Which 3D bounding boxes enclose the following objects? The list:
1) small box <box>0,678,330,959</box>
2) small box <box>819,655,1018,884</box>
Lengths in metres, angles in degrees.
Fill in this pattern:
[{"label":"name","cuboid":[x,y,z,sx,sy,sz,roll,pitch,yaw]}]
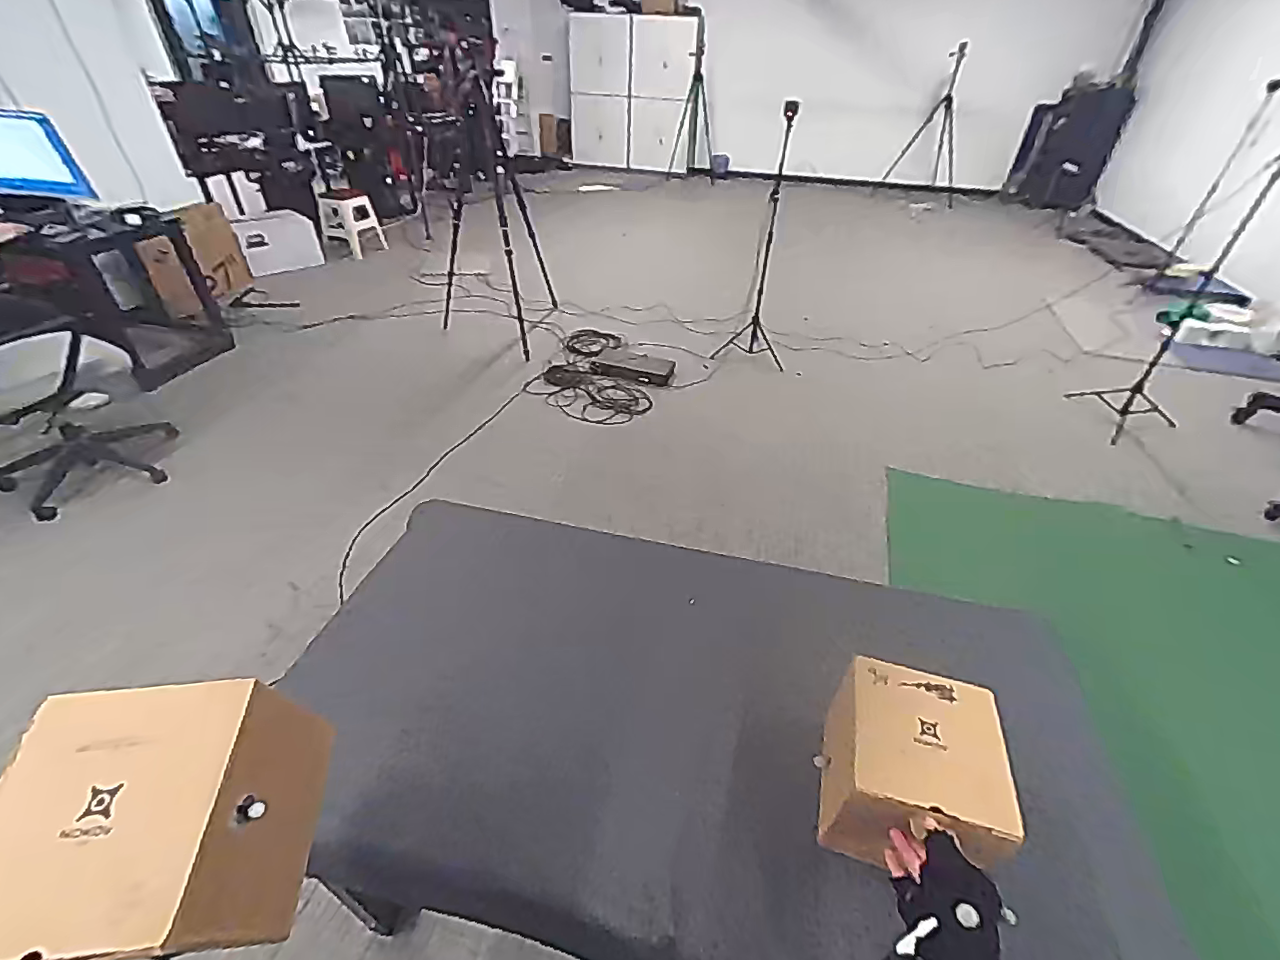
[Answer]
[{"label":"small box","cuboid":[-0.391,0.286,0.451,0.168,0.176,0.179,-4,51,-5]},{"label":"small box","cuboid":[0.326,0.357,0.669,0.168,0.176,0.179,13,40,13]}]
